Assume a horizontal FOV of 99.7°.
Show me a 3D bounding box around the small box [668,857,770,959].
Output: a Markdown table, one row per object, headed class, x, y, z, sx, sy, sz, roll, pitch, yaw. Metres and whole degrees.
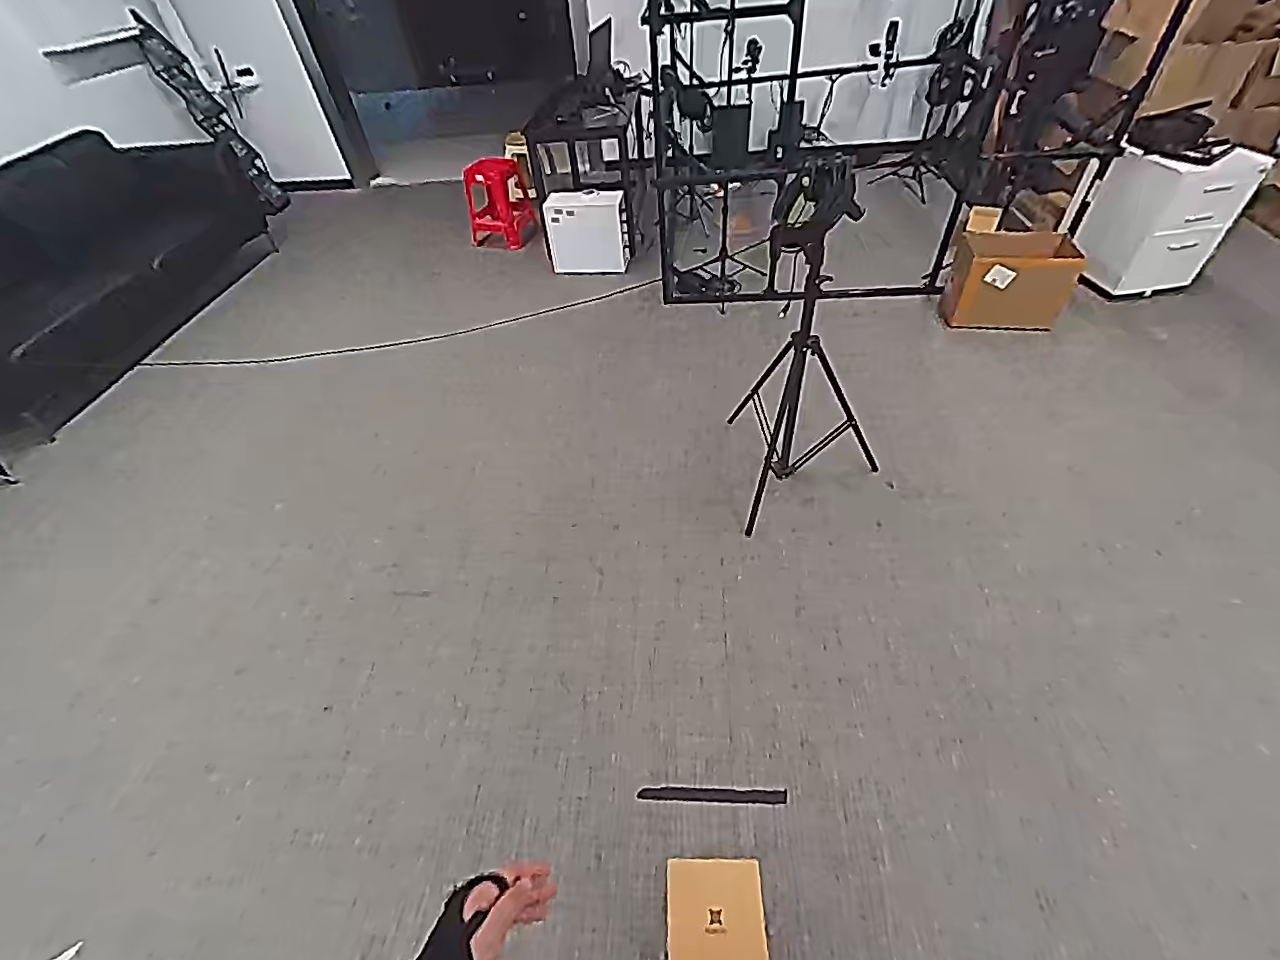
| class | x | y | z | sx | sy | sz | roll | pitch | yaw |
| --- | --- | --- | --- | --- | --- | --- | --- | --- | --- |
| small box | 0.135 | 0.795 | 0.965 | 0.168 | 0.176 | 0.179 | -3 | 47 | 4 |
